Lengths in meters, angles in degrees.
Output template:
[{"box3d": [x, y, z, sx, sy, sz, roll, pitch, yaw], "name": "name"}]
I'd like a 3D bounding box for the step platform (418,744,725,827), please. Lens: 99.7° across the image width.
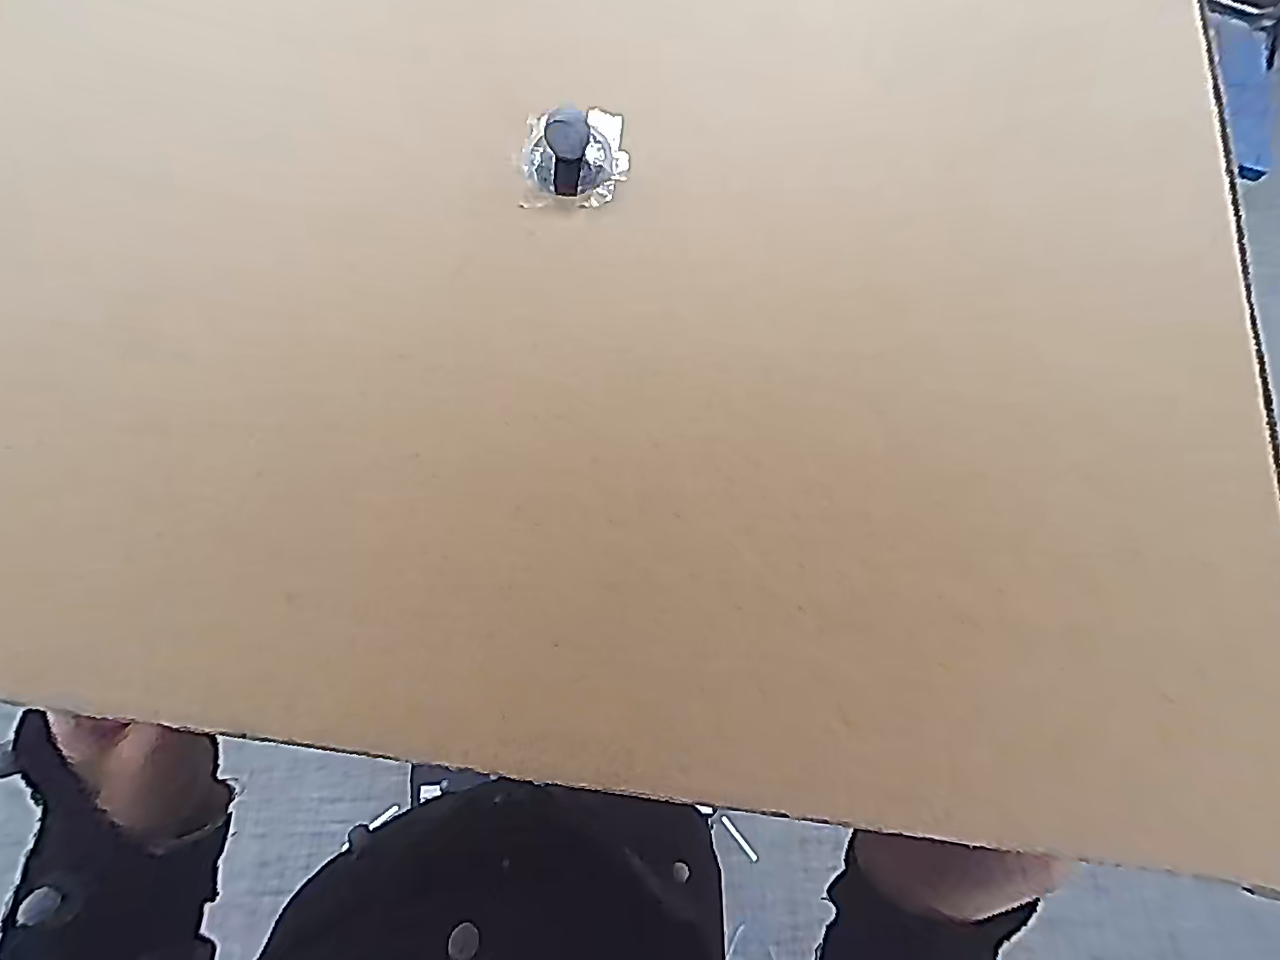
[{"box3d": [-0.141, 0.594, 1.245, 0.684, 0.204, 0.286, 7, 72, -3], "name": "step platform"}]
